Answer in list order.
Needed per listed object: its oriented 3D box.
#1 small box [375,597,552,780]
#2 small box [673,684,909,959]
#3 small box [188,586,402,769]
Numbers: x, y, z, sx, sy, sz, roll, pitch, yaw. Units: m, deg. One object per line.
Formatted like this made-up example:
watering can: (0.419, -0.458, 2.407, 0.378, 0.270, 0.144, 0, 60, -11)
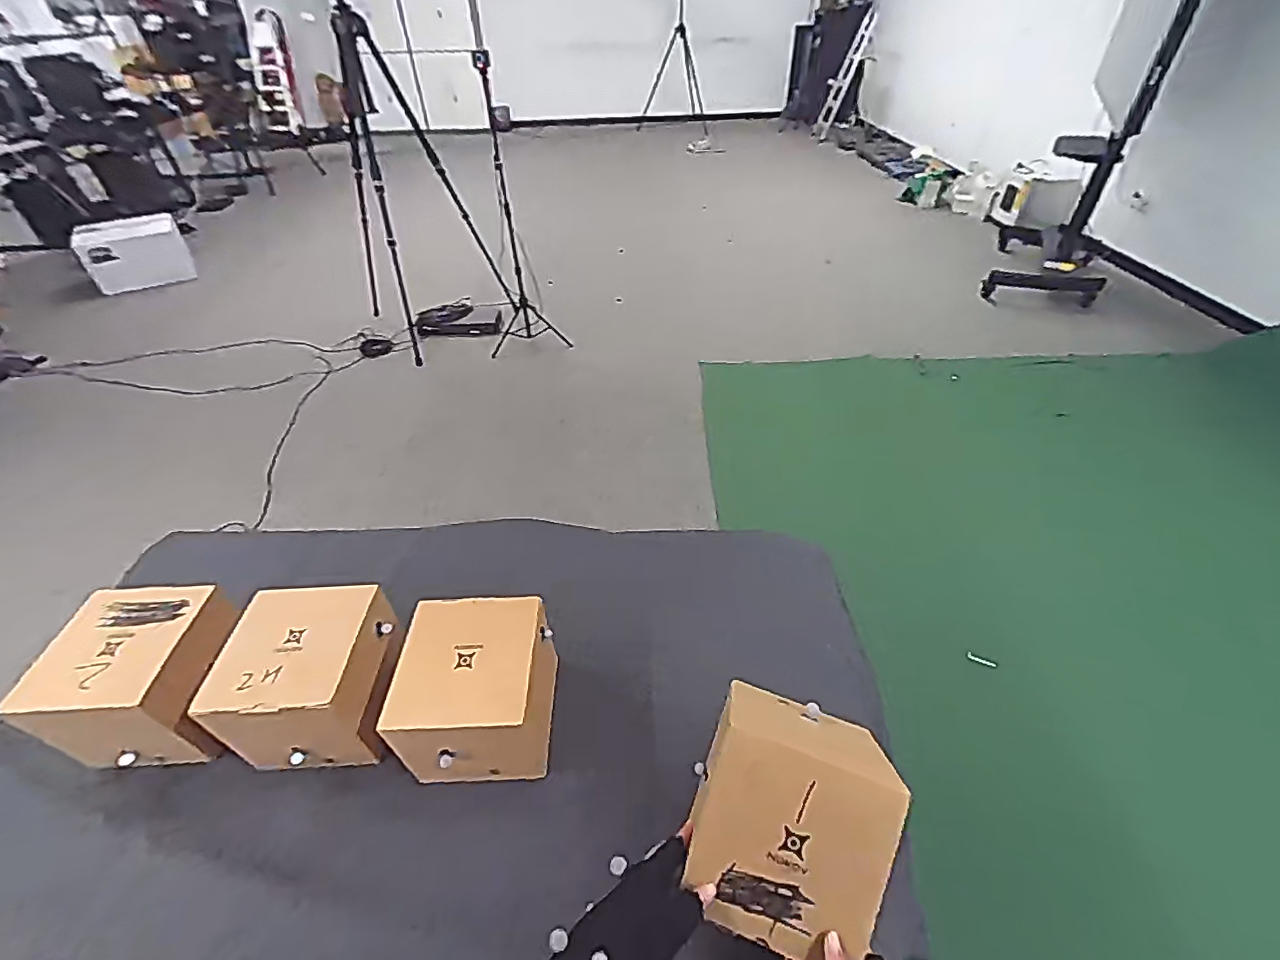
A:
small box: (-0.214, 0.278, 0.714, 0.168, 0.176, 0.179, -2, 41, -1)
small box: (0.147, 0.340, 0.559, 0.168, 0.176, 0.179, 18, 86, 12)
small box: (-0.437, 0.265, 0.731, 0.168, 0.176, 0.179, -3, 42, -1)
